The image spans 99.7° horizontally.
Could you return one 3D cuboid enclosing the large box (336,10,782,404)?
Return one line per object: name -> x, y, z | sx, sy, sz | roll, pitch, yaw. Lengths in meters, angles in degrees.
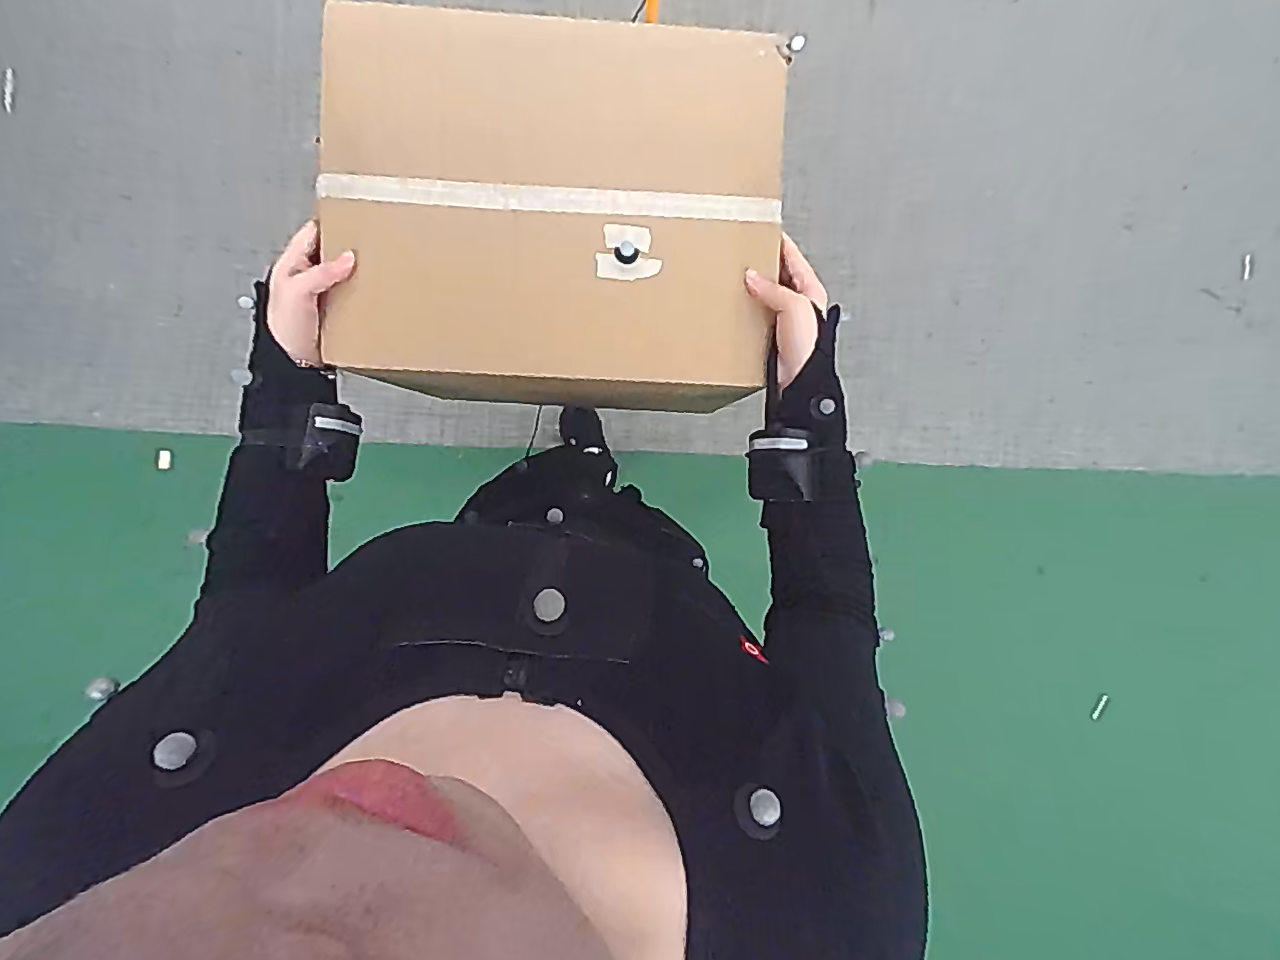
large box -> -0.081, -0.262, 0.639 | 0.408, 0.320, 0.320 | 2, 93, -4
